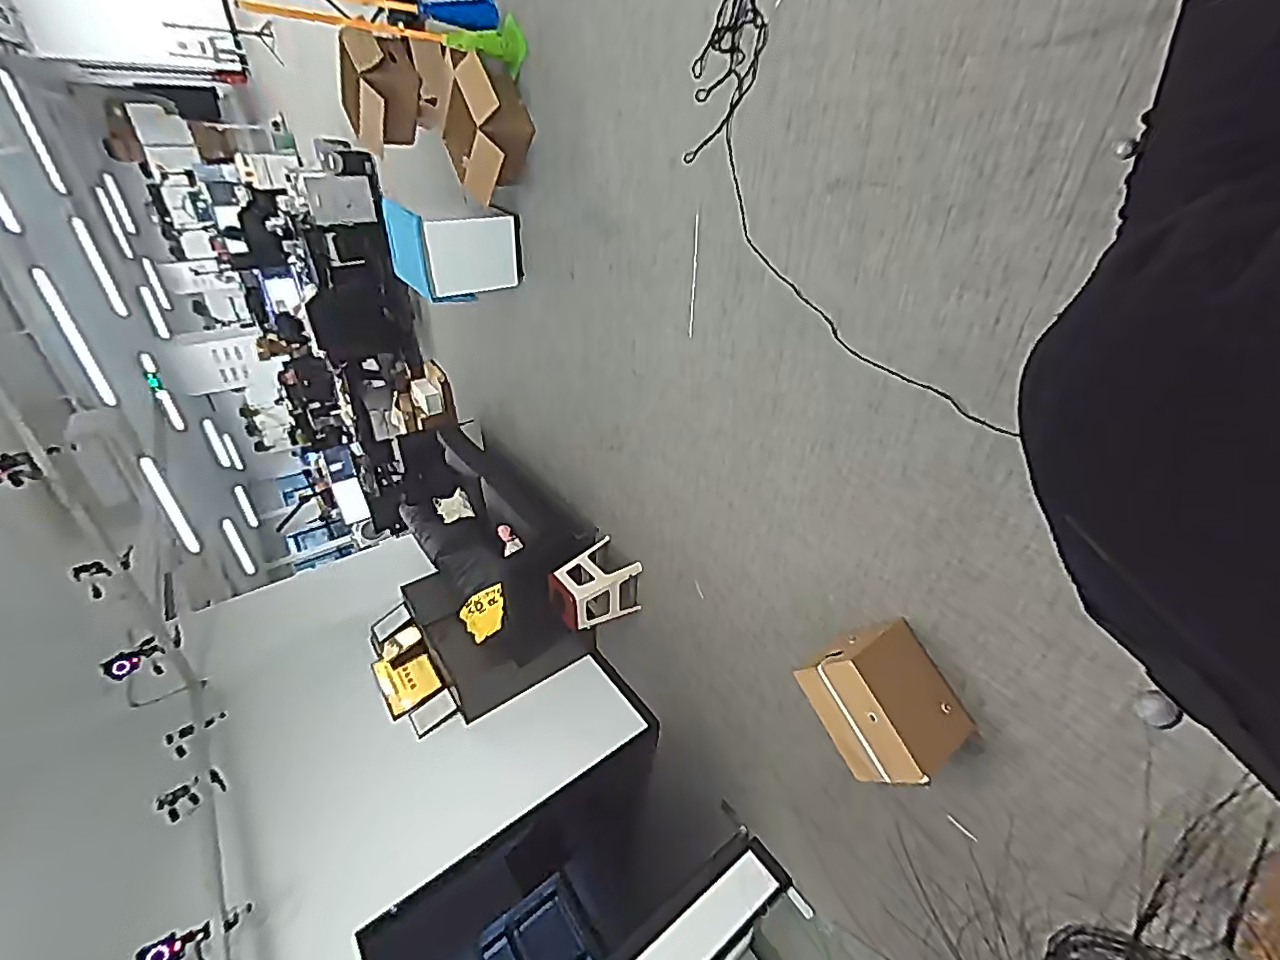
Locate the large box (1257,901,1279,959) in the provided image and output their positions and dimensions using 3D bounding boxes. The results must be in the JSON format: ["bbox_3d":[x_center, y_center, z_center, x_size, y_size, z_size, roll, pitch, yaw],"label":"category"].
[{"bbox_3d":[1.488,1.079,1.028,0.408,0.320,0.320,20,125,50],"label":"large box"}]
